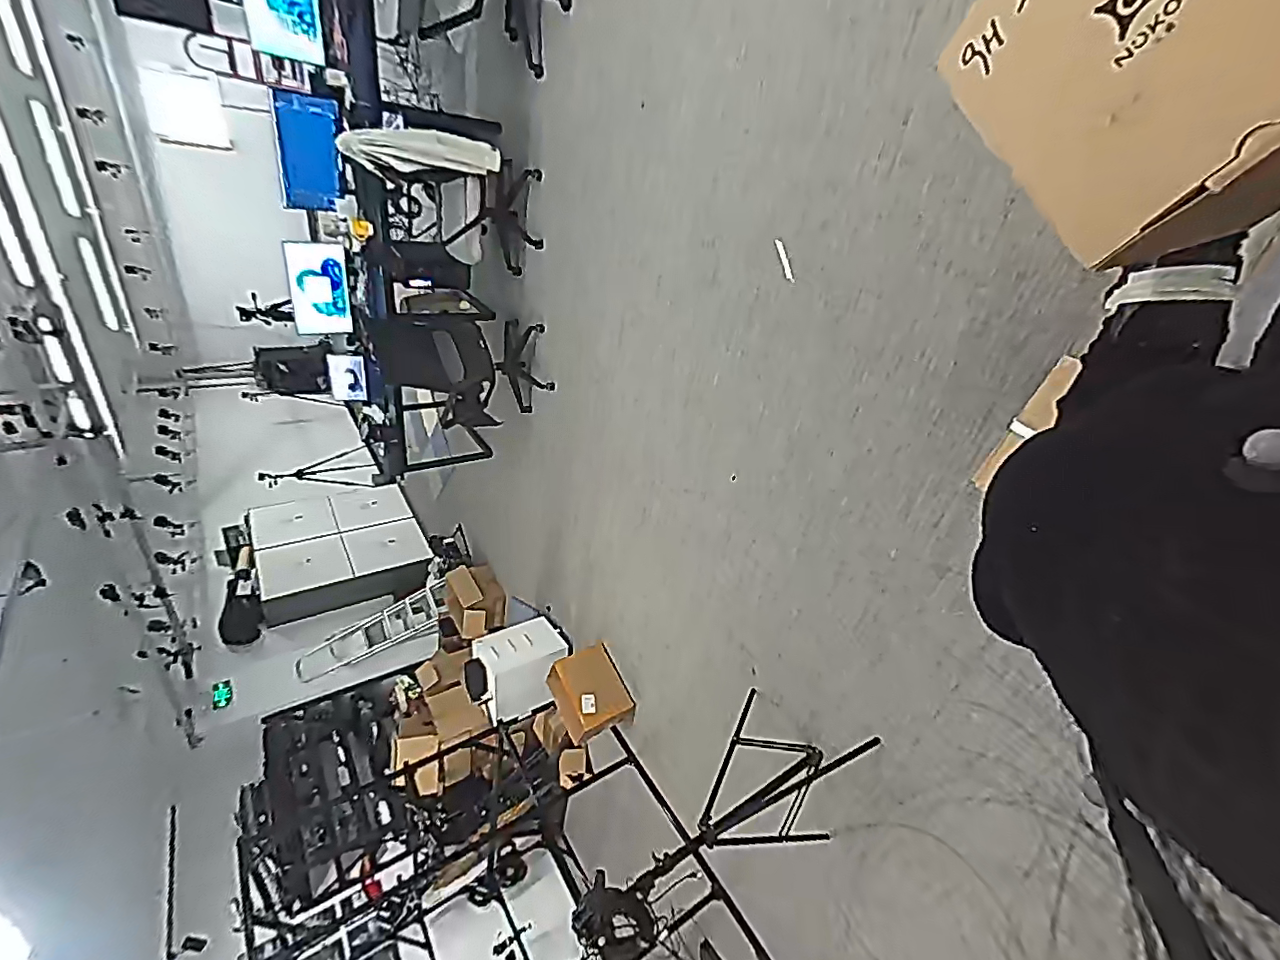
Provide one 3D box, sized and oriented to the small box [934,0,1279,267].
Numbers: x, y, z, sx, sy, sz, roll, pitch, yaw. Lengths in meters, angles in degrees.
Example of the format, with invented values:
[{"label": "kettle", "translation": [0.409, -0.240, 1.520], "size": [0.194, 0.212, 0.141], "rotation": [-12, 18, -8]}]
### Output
[{"label": "small box", "translation": [0.311, -0.249, 0.280], "size": [0.168, 0.176, 0.179], "rotation": [119, 129, -67]}]
